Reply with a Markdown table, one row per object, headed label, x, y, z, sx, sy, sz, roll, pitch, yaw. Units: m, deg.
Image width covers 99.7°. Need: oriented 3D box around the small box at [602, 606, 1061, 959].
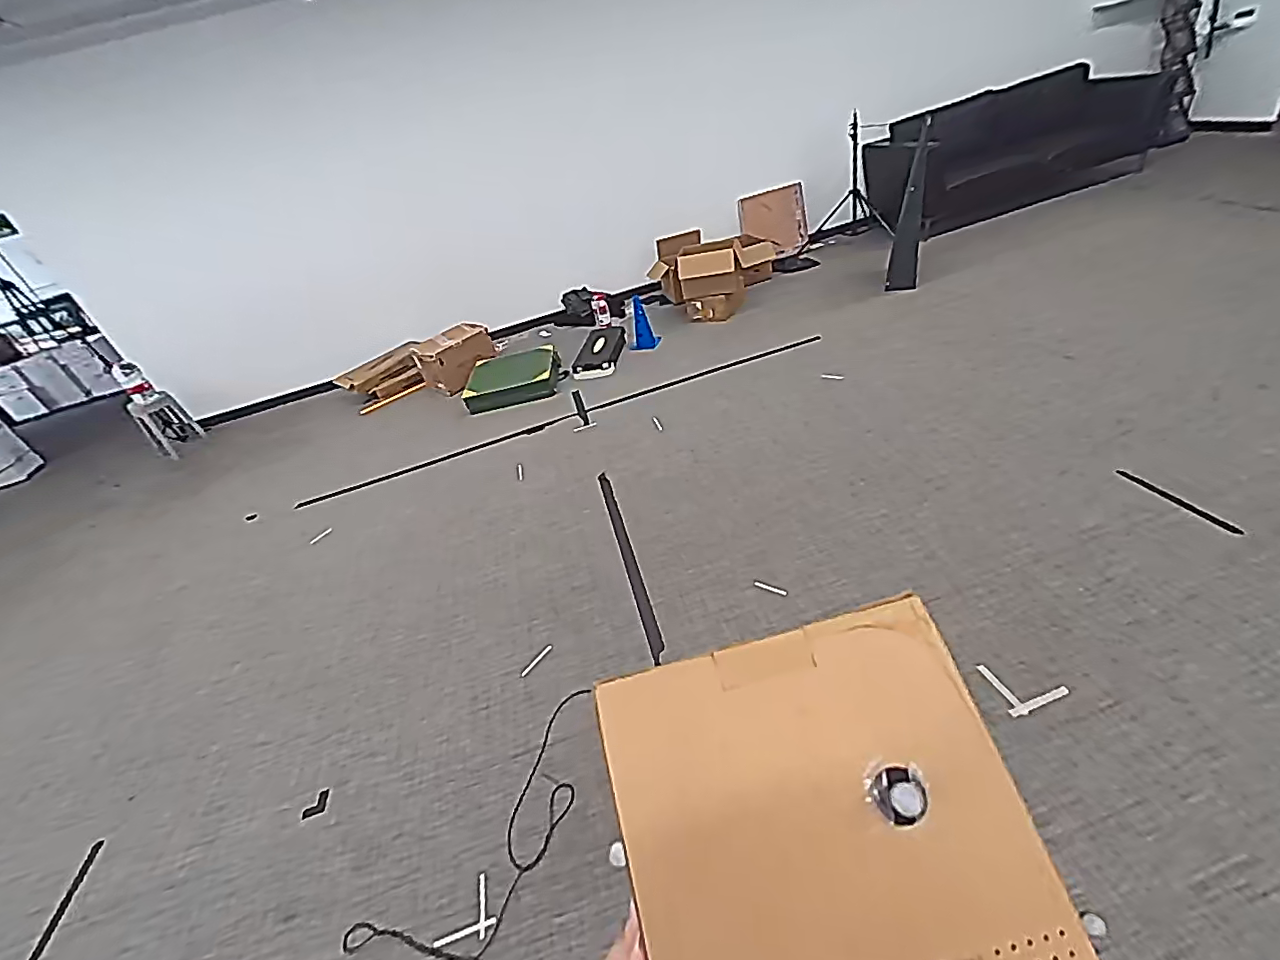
| label | x | y | z | sx | sy | sz | roll | pitch | yaw |
| --- | --- | --- | --- | --- | --- | --- | --- | --- | --- |
| small box | 0.089 | 0.192 | 0.317 | 0.168 | 0.179 | 0.176 | -16 | 65 | 1 |
